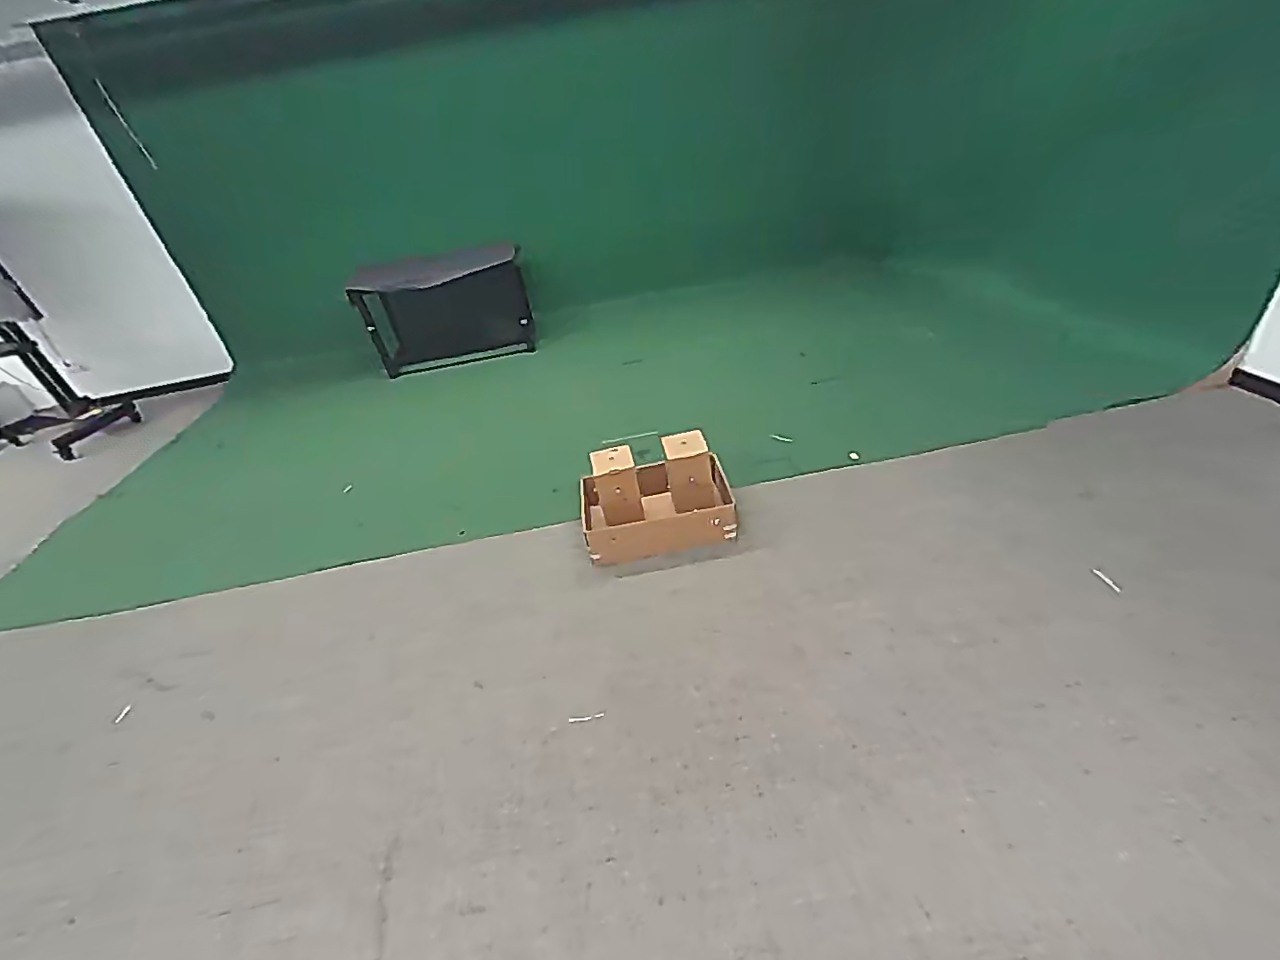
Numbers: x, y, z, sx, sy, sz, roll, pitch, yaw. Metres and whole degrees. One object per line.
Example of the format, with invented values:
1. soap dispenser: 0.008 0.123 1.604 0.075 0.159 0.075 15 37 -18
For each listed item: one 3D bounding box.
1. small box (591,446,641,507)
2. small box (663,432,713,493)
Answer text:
1. small box: -0.096 -0.008 2.192 0.168 0.176 0.179 -13 36 -3
2. small box: 0.194 -0.071 2.204 0.168 0.176 0.179 -12 36 0
